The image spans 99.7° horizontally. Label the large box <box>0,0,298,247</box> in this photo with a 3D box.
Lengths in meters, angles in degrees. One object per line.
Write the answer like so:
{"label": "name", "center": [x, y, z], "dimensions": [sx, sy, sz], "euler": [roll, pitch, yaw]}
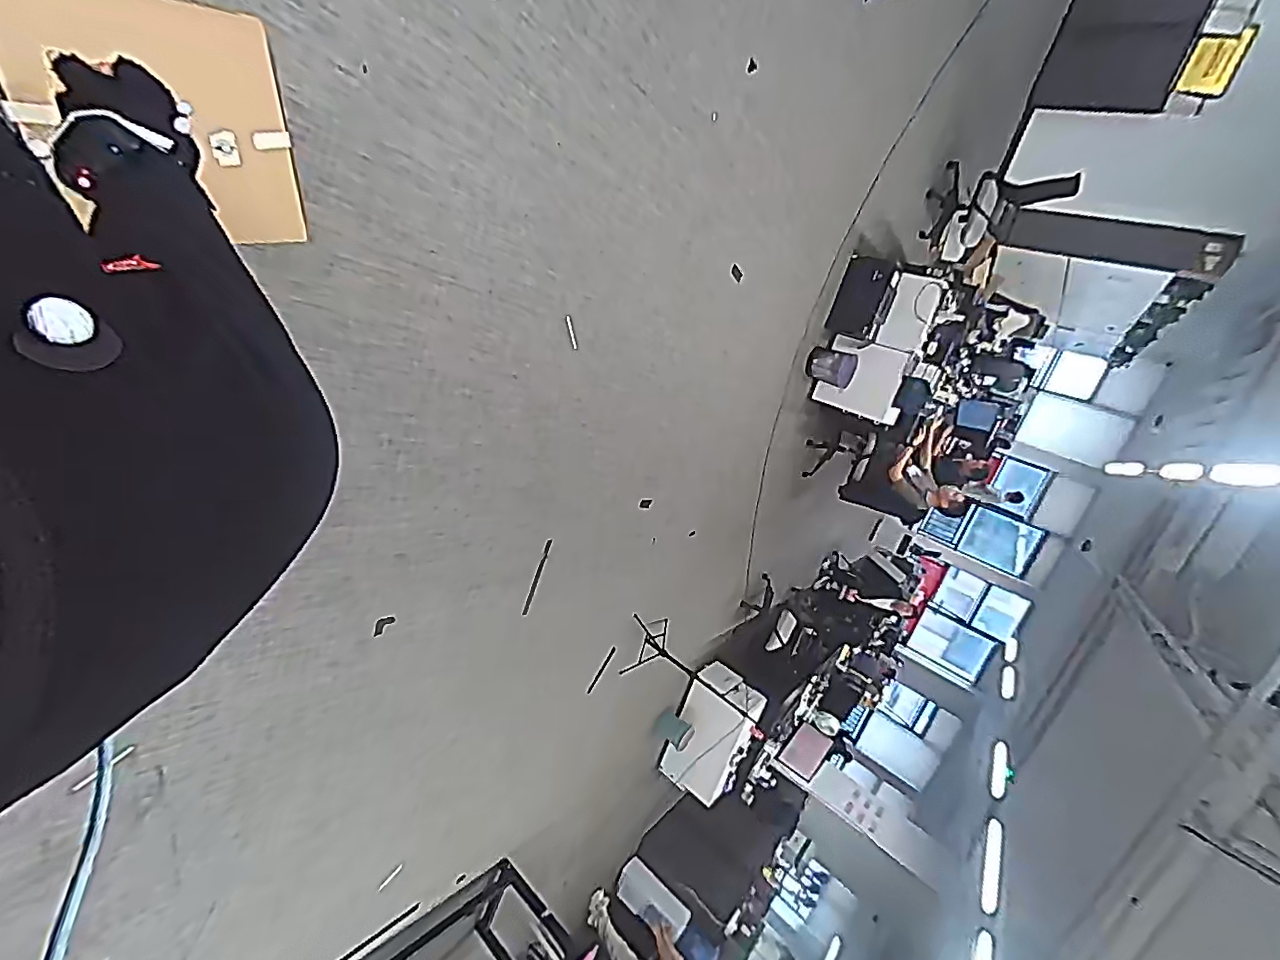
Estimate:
{"label": "large box", "center": [-0.824, -0.575, 0.881], "dimensions": [0.320, 0.408, 0.320], "euler": [-24, 130, -41]}
